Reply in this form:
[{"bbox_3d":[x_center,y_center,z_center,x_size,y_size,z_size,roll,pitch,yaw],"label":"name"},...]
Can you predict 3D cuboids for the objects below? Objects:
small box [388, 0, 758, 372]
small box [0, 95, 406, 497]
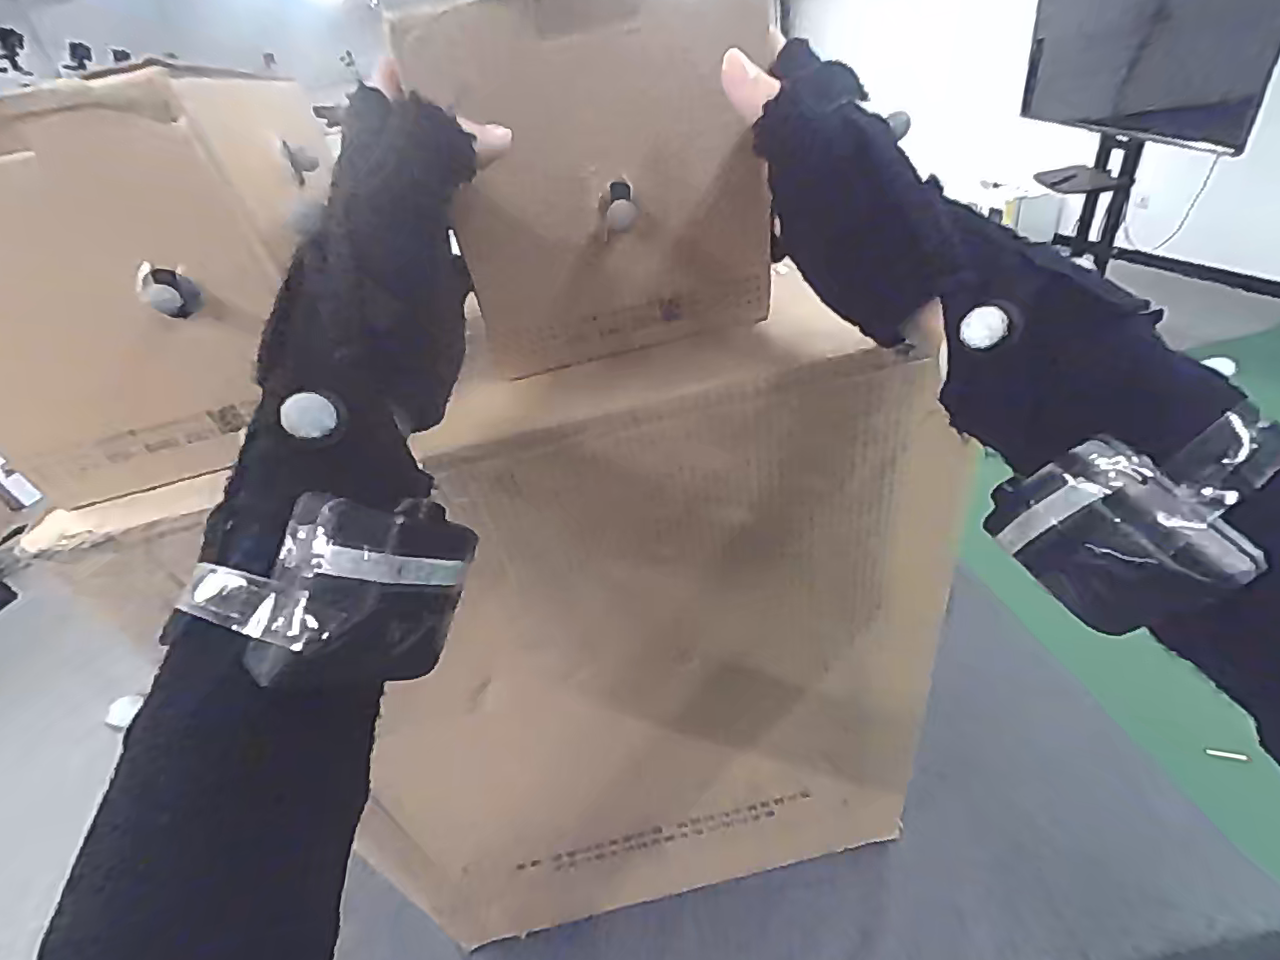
[{"bbox_3d":[-0.030,-0.182,0.342,0.168,0.176,0.179,-14,39,-3],"label":"small box"},{"bbox_3d":[-0.259,-0.107,0.319,0.168,0.176,0.179,-15,35,-5],"label":"small box"}]
